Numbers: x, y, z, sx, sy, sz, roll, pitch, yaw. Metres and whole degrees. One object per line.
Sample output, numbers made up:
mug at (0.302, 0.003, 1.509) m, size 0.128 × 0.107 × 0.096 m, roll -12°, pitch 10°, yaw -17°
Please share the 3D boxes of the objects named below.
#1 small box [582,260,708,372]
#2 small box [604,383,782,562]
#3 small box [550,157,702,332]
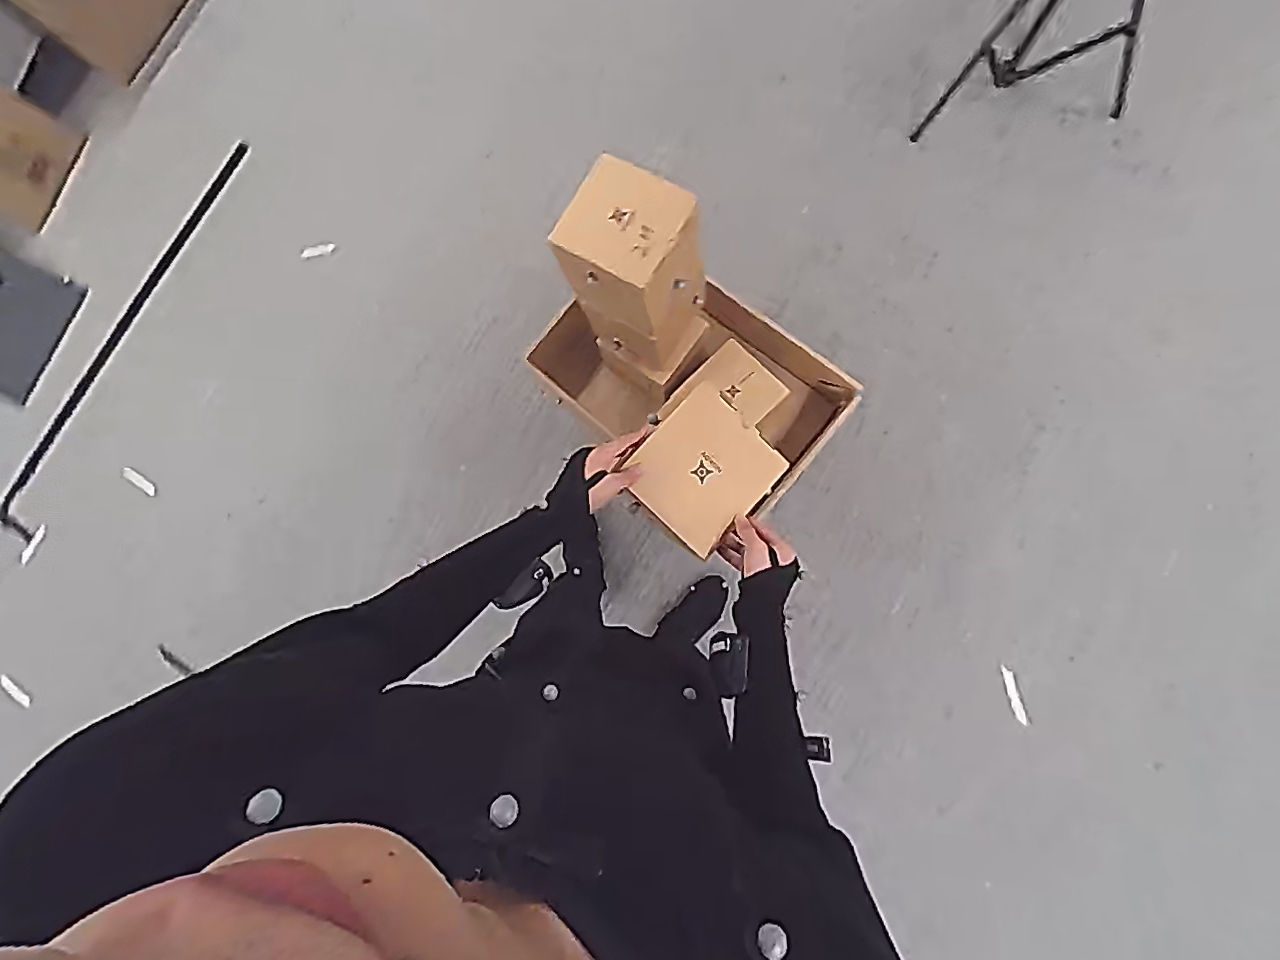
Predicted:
small box at (0.014, -0.340, 1.040) m, size 0.168 × 0.176 × 0.179 m, roll 31°, pitch 86°, yaw 10°
small box at (0.062, -0.009, 0.776) m, size 0.168 × 0.176 × 0.179 m, roll 43°, pitch 82°, yaw -8°
small box at (-0.013, -0.370, 0.881) m, size 0.179 × 0.176 × 0.168 m, roll 31°, pitch 87°, yaw 11°
